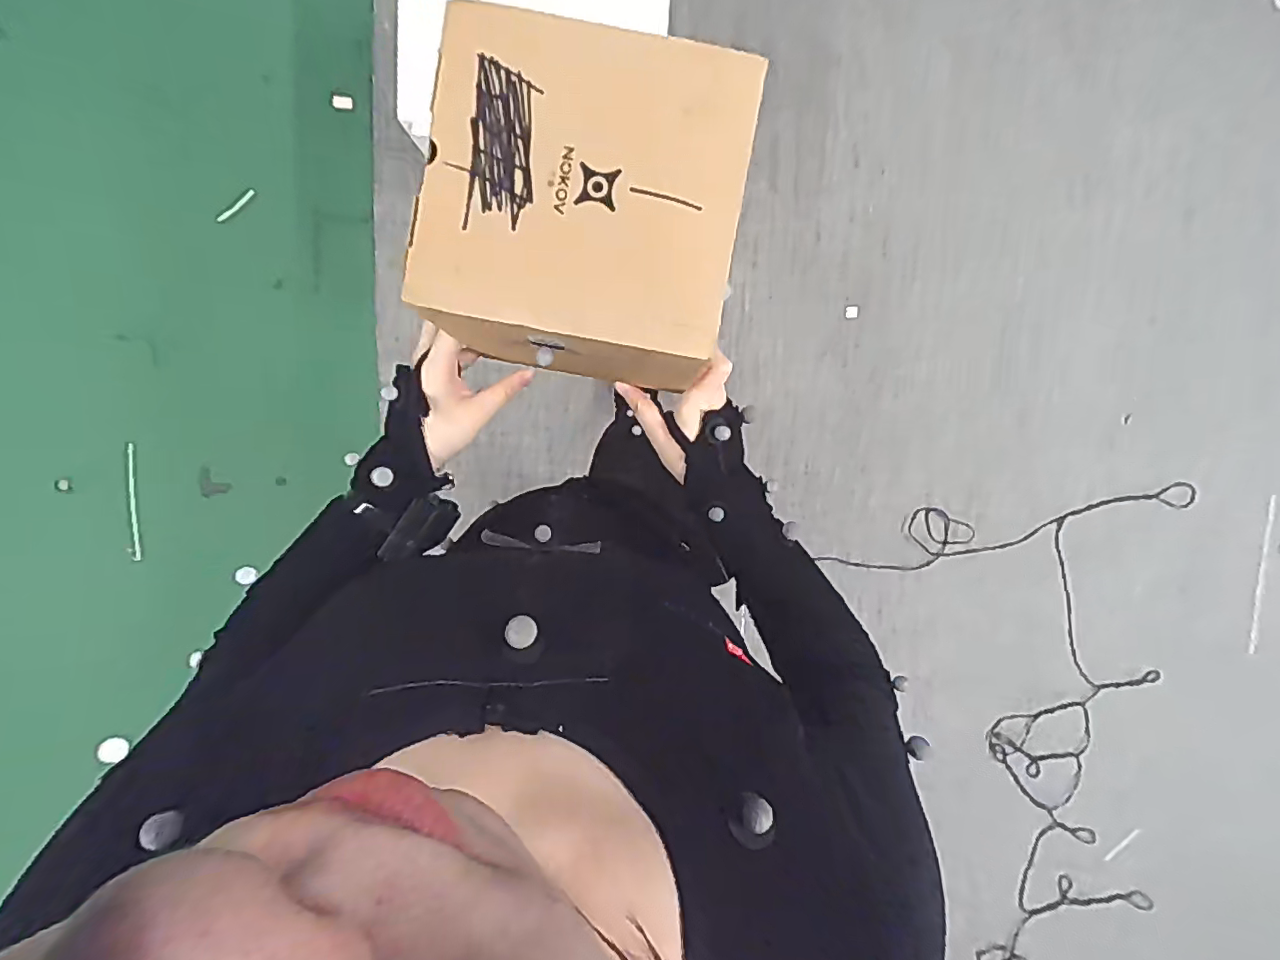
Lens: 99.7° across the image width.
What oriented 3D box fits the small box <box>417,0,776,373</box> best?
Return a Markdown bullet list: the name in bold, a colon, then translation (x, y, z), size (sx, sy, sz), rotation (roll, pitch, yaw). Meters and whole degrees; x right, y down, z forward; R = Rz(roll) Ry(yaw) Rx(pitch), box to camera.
- **small box**: translation (-0.027, -0.177, 0.379), size (0.179, 0.176, 0.168), rotation (10, 93, -3)
